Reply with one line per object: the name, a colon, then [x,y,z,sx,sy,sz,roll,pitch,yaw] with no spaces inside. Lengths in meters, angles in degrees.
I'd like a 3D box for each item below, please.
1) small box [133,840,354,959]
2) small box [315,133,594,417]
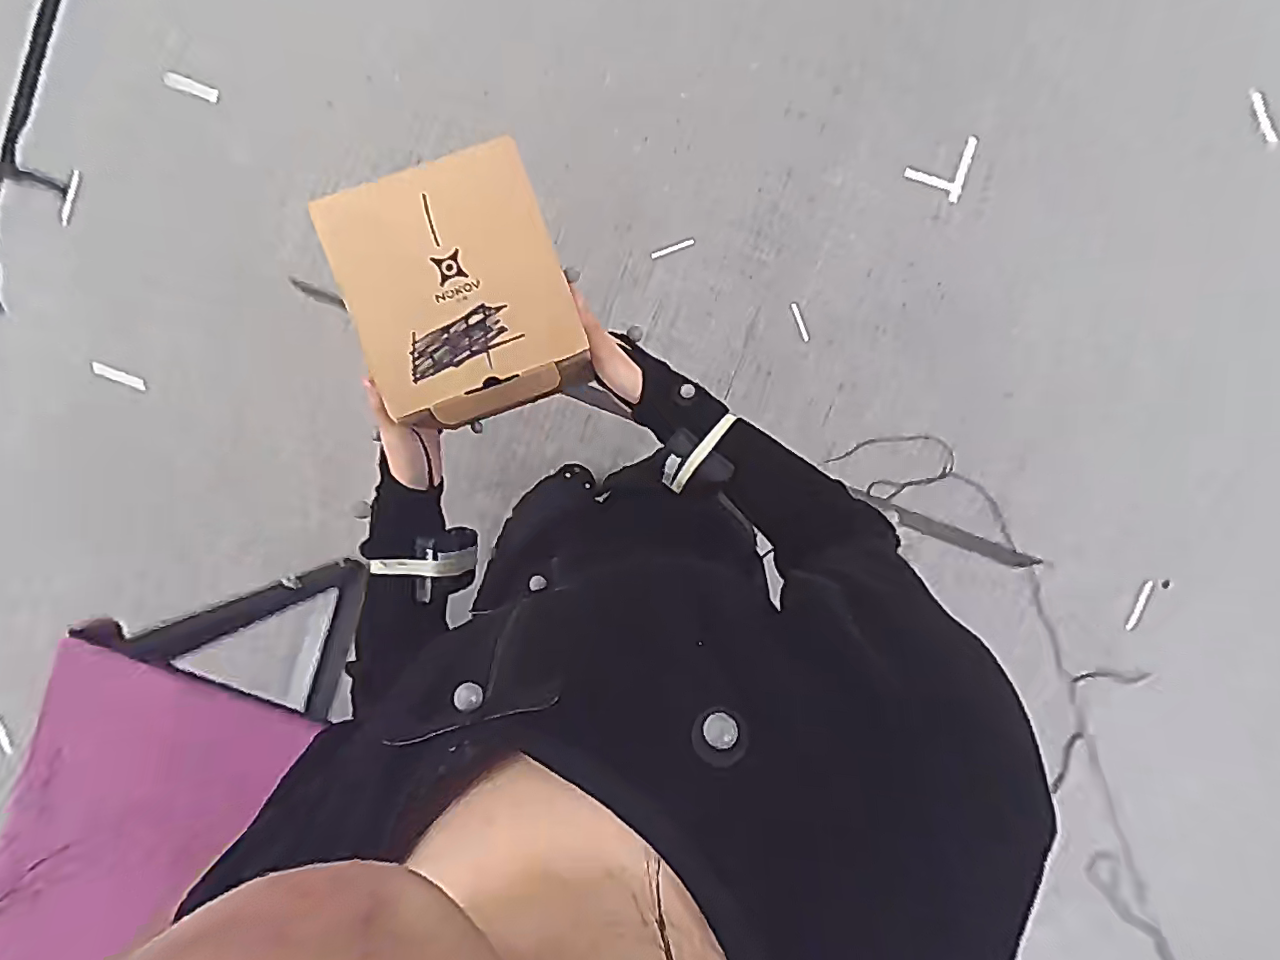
small box: [-0.523,0.622,0.713,0.179,0.176,0.168,19,94,-1]
small box: [-0.145,-0.161,0.492,0.168,0.176,0.179,-19,94,-2]
